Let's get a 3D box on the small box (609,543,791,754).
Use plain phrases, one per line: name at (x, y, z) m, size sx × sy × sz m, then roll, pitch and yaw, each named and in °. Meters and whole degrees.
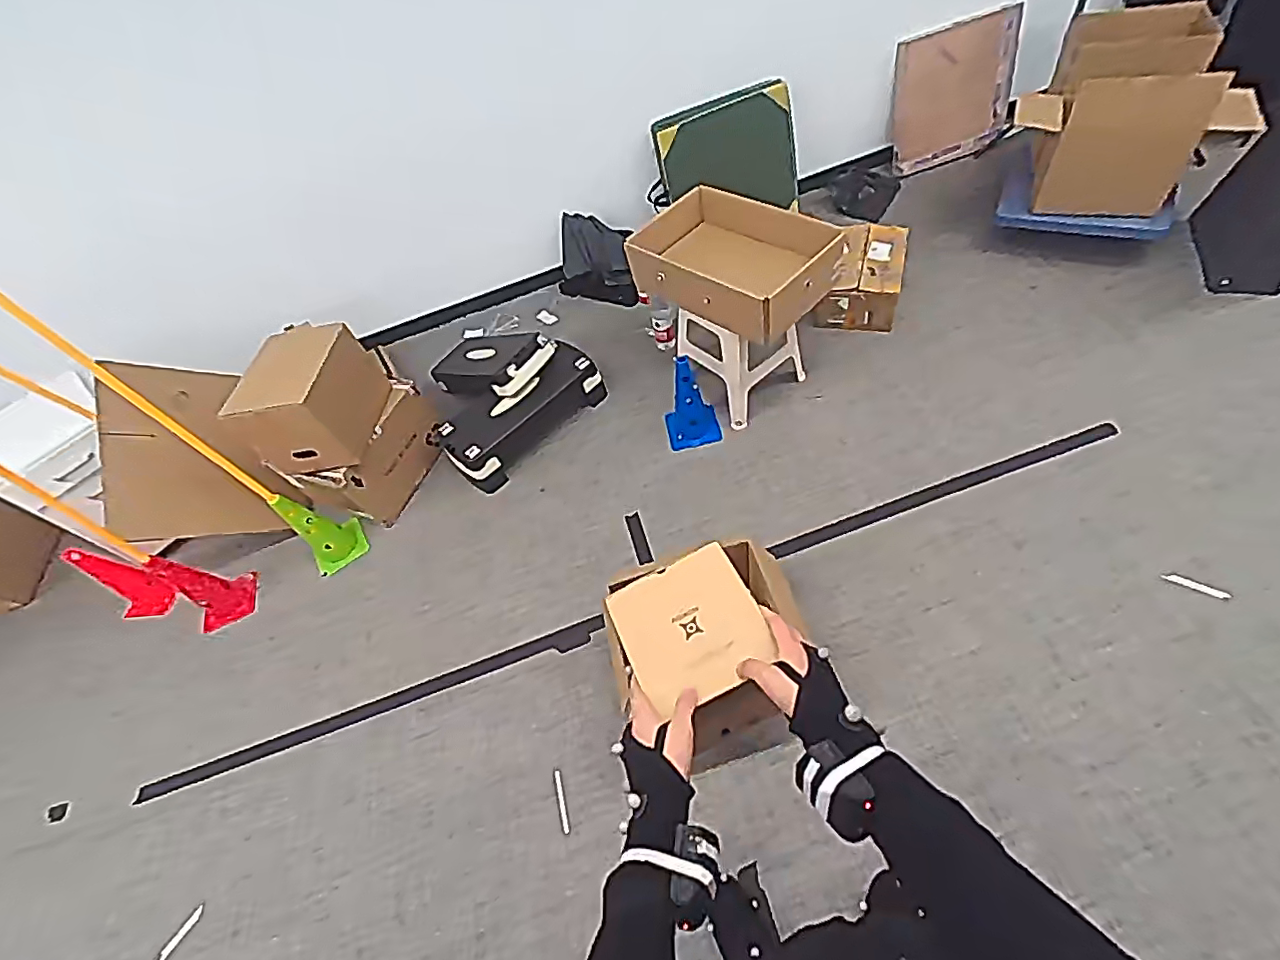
small box at (0.079, 0.221, 0.704) m, size 0.168 × 0.176 × 0.179 m, roll -26°, pitch 48°, yaw -4°
